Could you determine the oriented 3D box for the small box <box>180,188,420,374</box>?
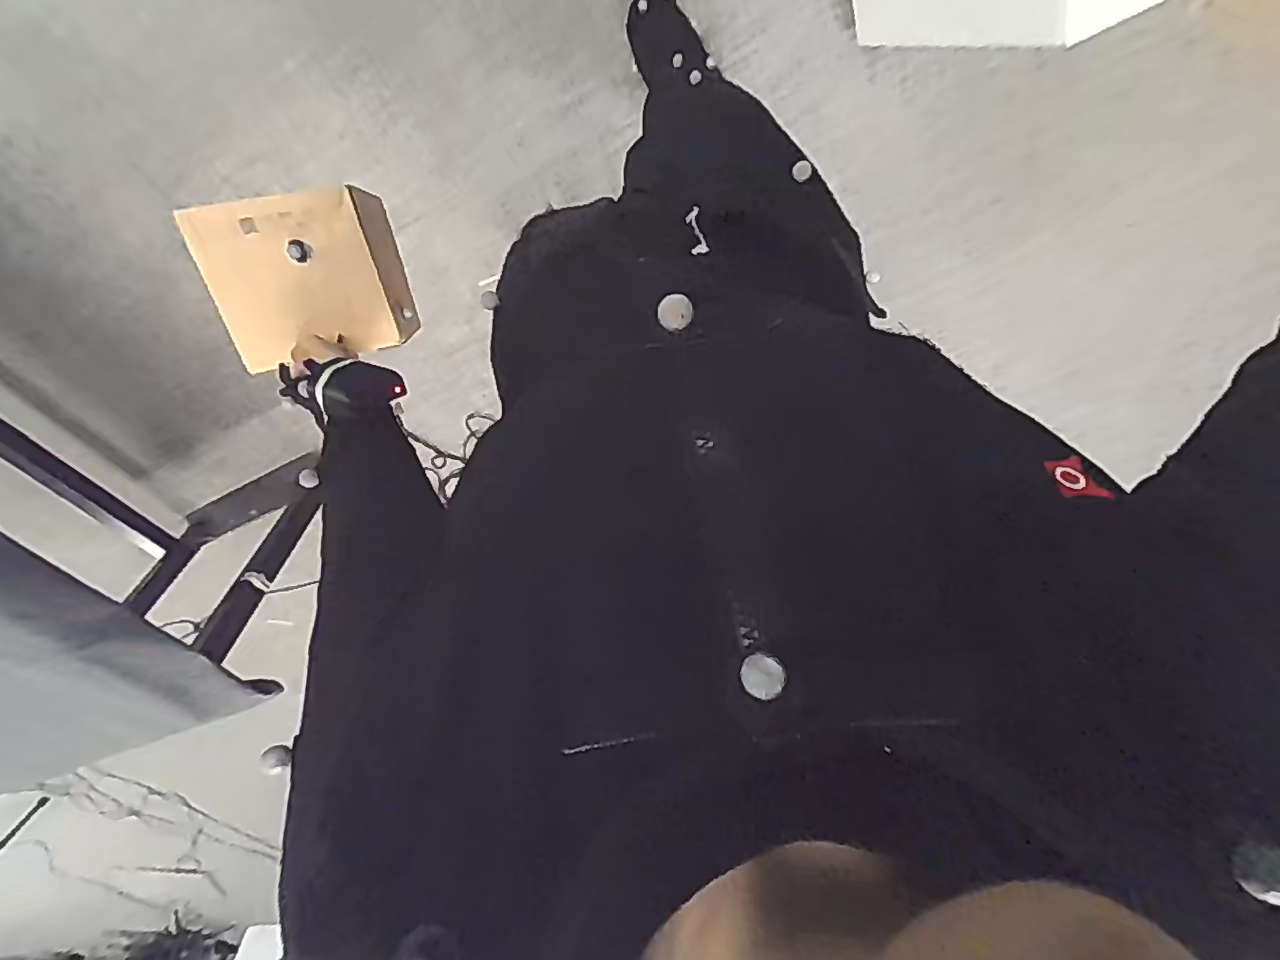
[{"bbox_3d":[-0.378,-0.239,0.638,0.168,0.179,0.176,-13,116,-8],"label":"small box"}]
